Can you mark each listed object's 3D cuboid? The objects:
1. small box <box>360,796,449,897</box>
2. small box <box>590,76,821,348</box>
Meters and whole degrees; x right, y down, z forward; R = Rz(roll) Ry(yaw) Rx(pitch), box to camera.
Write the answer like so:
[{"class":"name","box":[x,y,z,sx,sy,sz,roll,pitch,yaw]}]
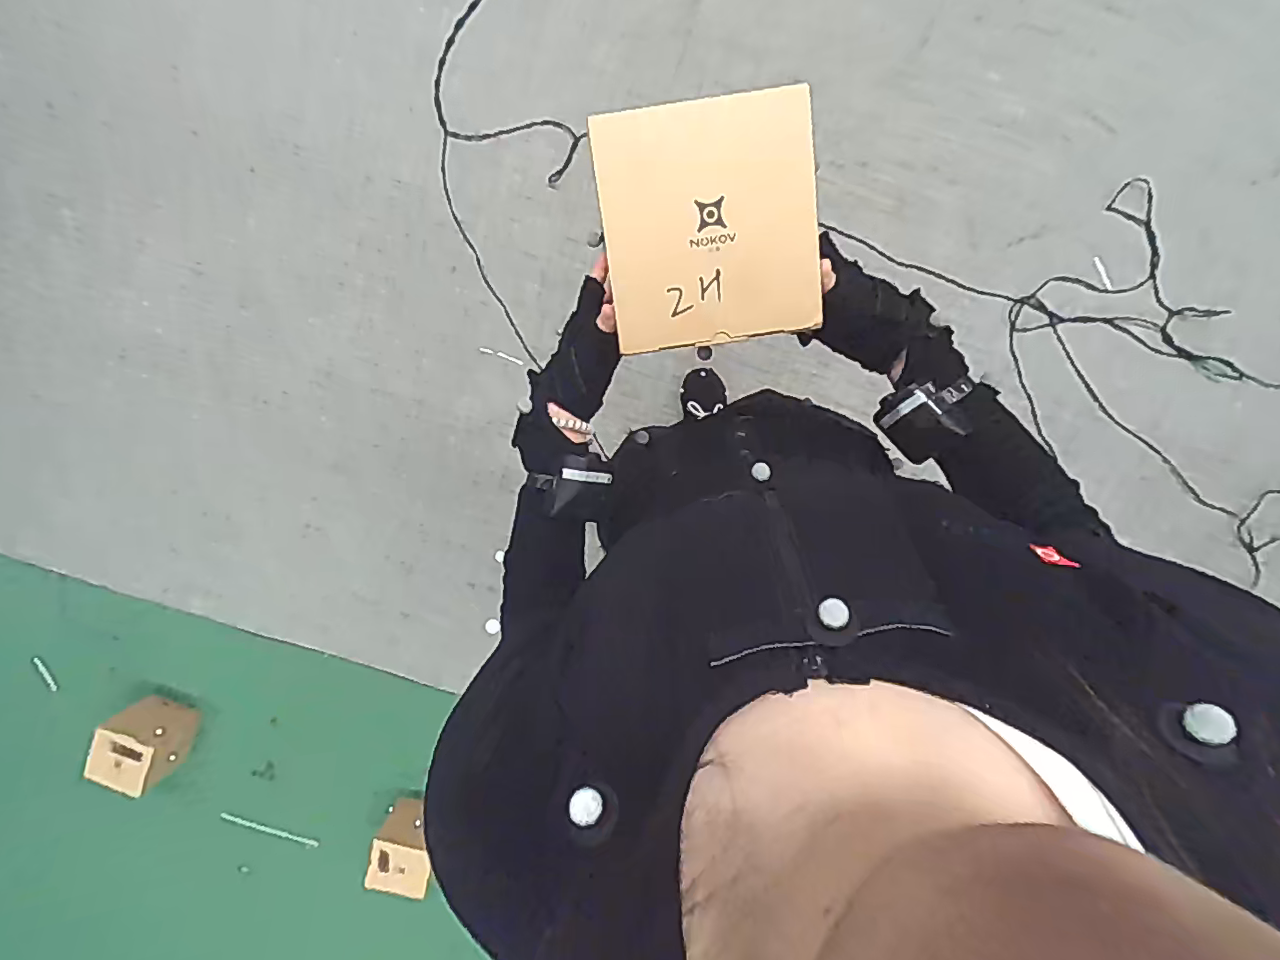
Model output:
[{"class":"small box","box":[-0.695,1.080,1.608,0.179,0.176,0.168,15,100,-3]},{"class":"small box","box":[0.051,-0.216,0.485,0.168,0.176,0.179,-7,104,1]}]
